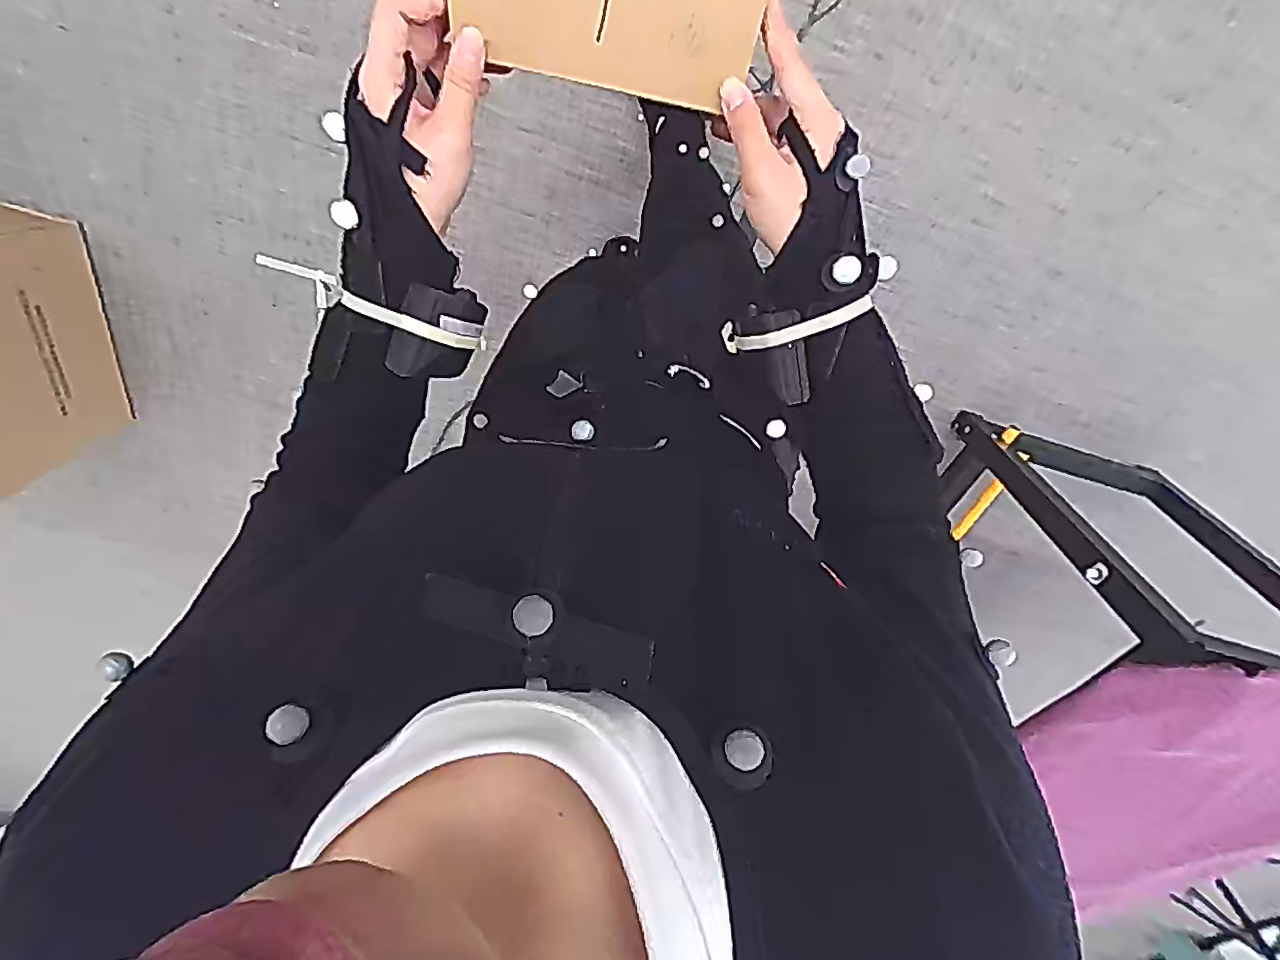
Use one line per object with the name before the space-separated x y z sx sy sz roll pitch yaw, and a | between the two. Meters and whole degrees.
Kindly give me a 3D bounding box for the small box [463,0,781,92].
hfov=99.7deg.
small box | 0.003 -0.350 0.289 0.168 0.176 0.179 8 139 -7
